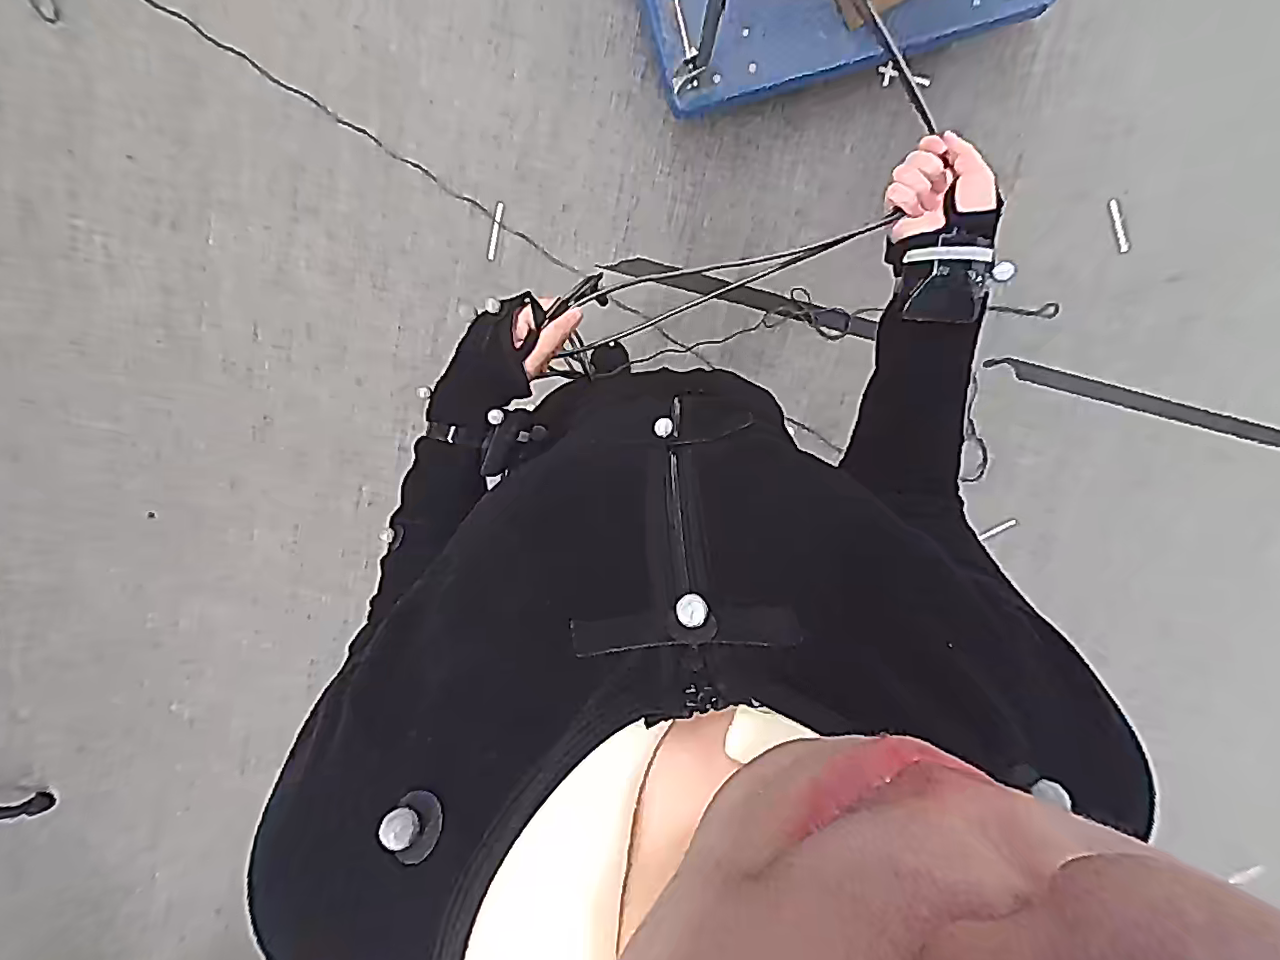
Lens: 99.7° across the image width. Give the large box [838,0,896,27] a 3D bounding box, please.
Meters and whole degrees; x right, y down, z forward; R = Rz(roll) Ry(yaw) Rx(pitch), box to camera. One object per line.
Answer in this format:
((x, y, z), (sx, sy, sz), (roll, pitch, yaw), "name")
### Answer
((0.482, -1.171, 0.959), (0.320, 0.320, 0.408), (-30, 102, 4), "large box")
